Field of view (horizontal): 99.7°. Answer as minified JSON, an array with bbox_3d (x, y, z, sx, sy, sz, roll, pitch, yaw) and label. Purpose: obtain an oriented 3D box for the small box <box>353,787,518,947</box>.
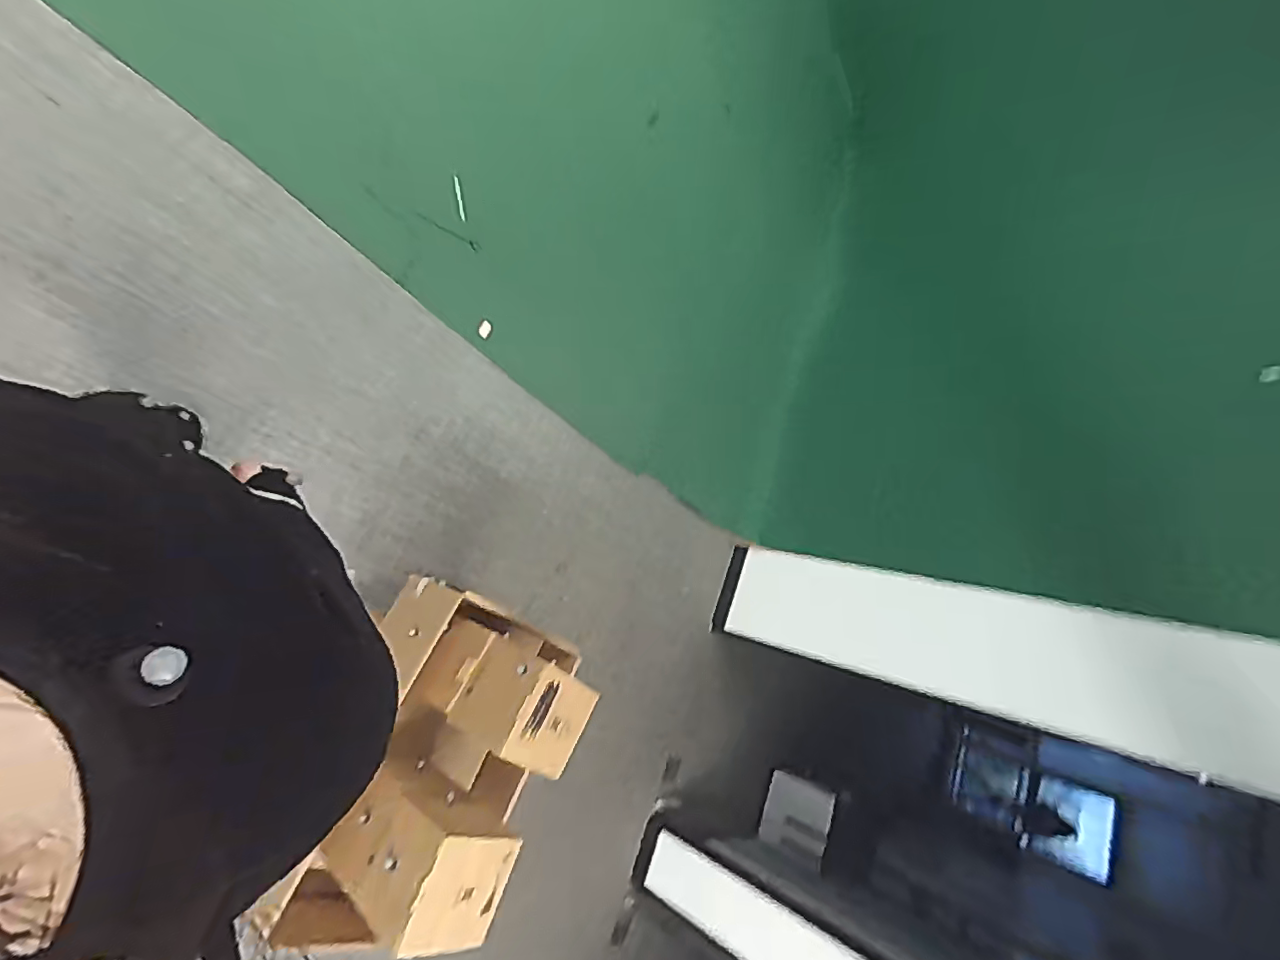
[{"bbox_3d":[-0.352,0.653,0.929,0.179,0.176,0.168,42,64,-43],"label":"small box"}]
